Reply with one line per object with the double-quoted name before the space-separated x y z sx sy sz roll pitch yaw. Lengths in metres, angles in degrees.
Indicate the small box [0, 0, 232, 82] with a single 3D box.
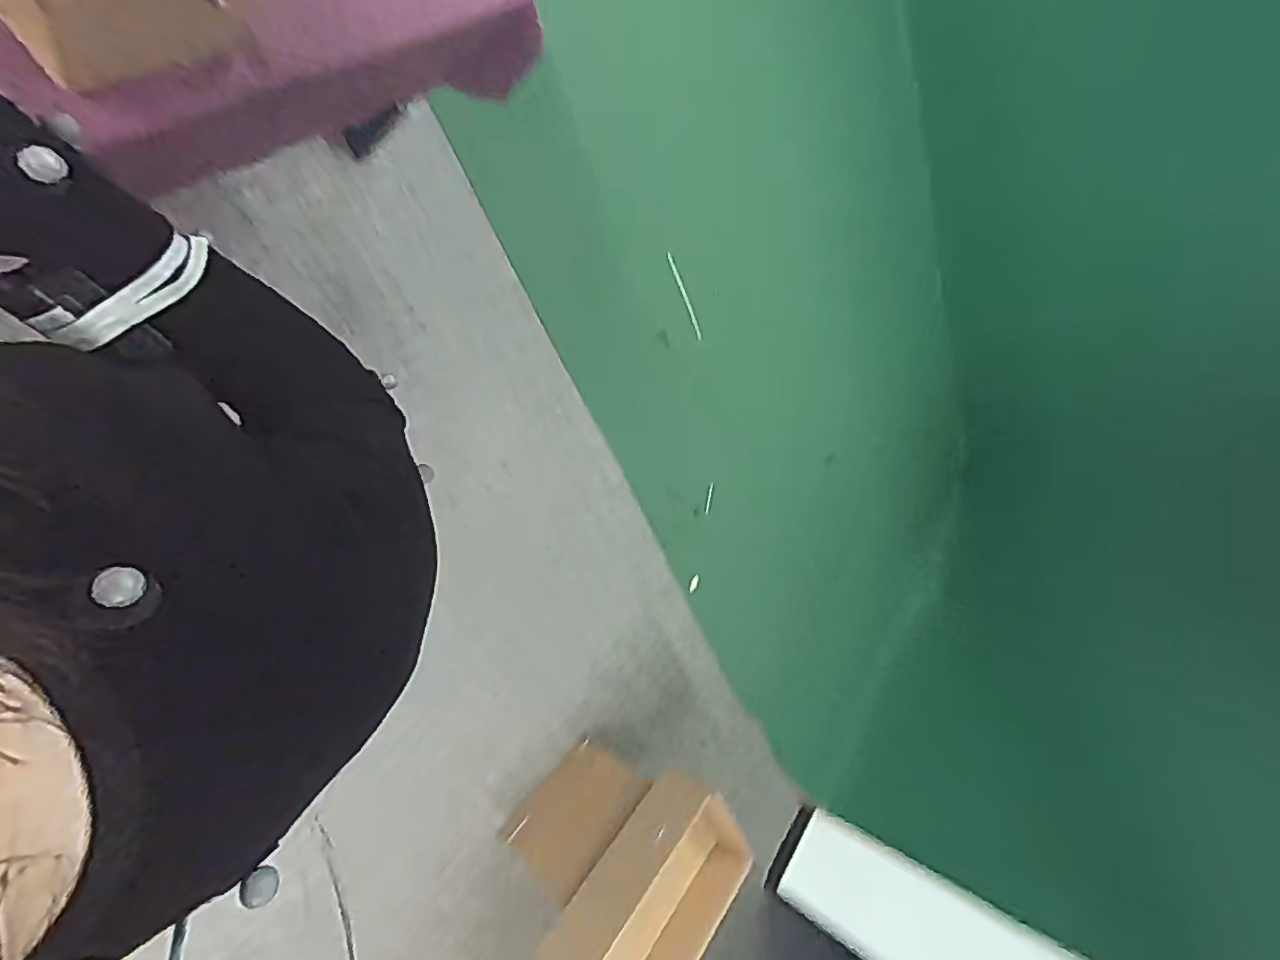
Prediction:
"small box" -0.490 -0.488 0.468 0.179 0.176 0.168 -47 123 -28
